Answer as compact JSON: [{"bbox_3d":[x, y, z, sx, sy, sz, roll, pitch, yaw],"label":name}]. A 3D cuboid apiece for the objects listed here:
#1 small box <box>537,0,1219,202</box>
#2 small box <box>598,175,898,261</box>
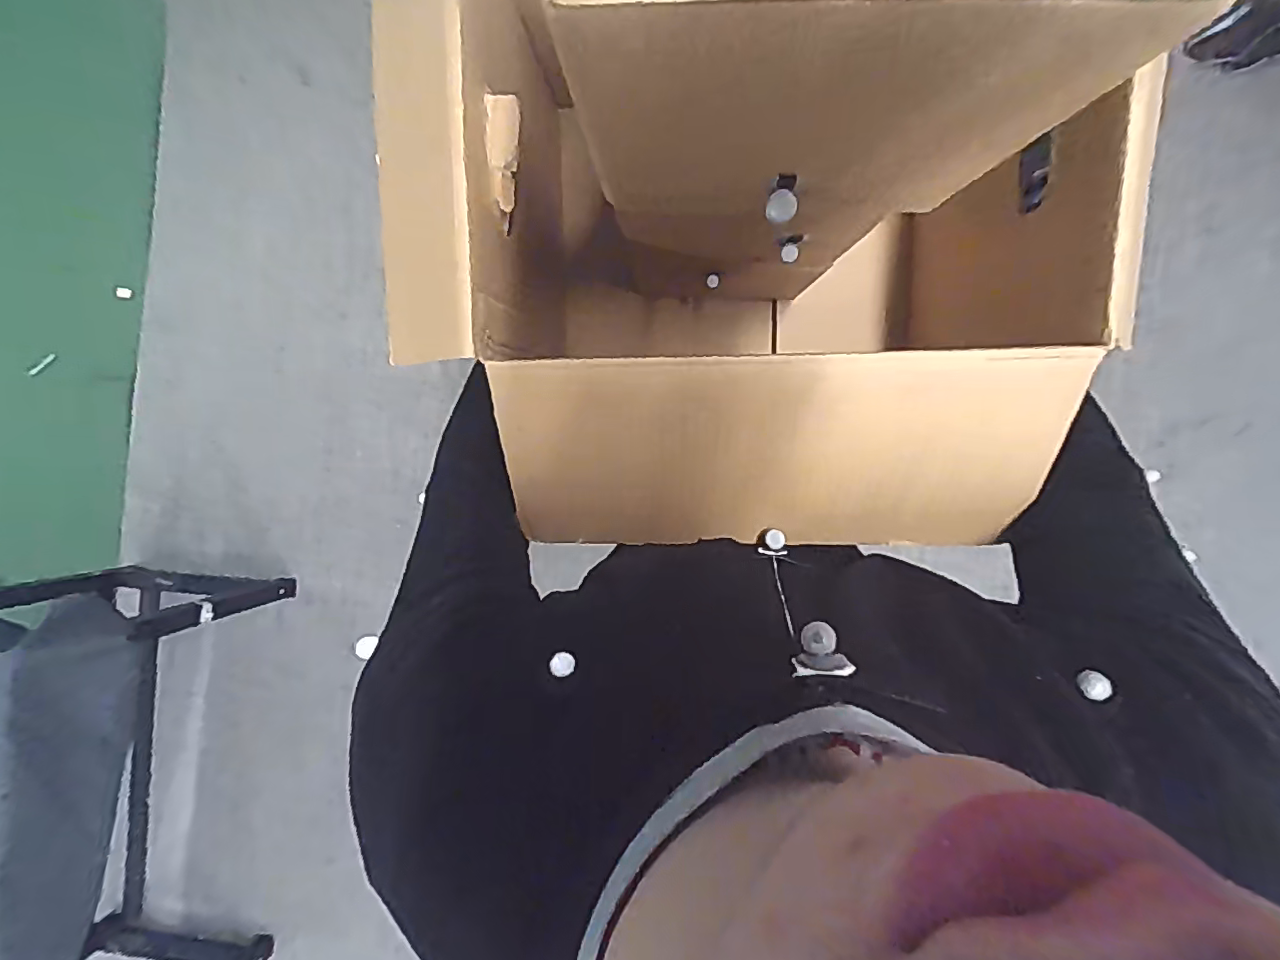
[{"bbox_3d":[0.063,-0.214,0.192,0.179,0.176,0.168,2,100,2],"label":"small box"},{"bbox_3d":[0.070,-0.253,0.350,0.168,0.176,0.179,6,99,2],"label":"small box"}]
